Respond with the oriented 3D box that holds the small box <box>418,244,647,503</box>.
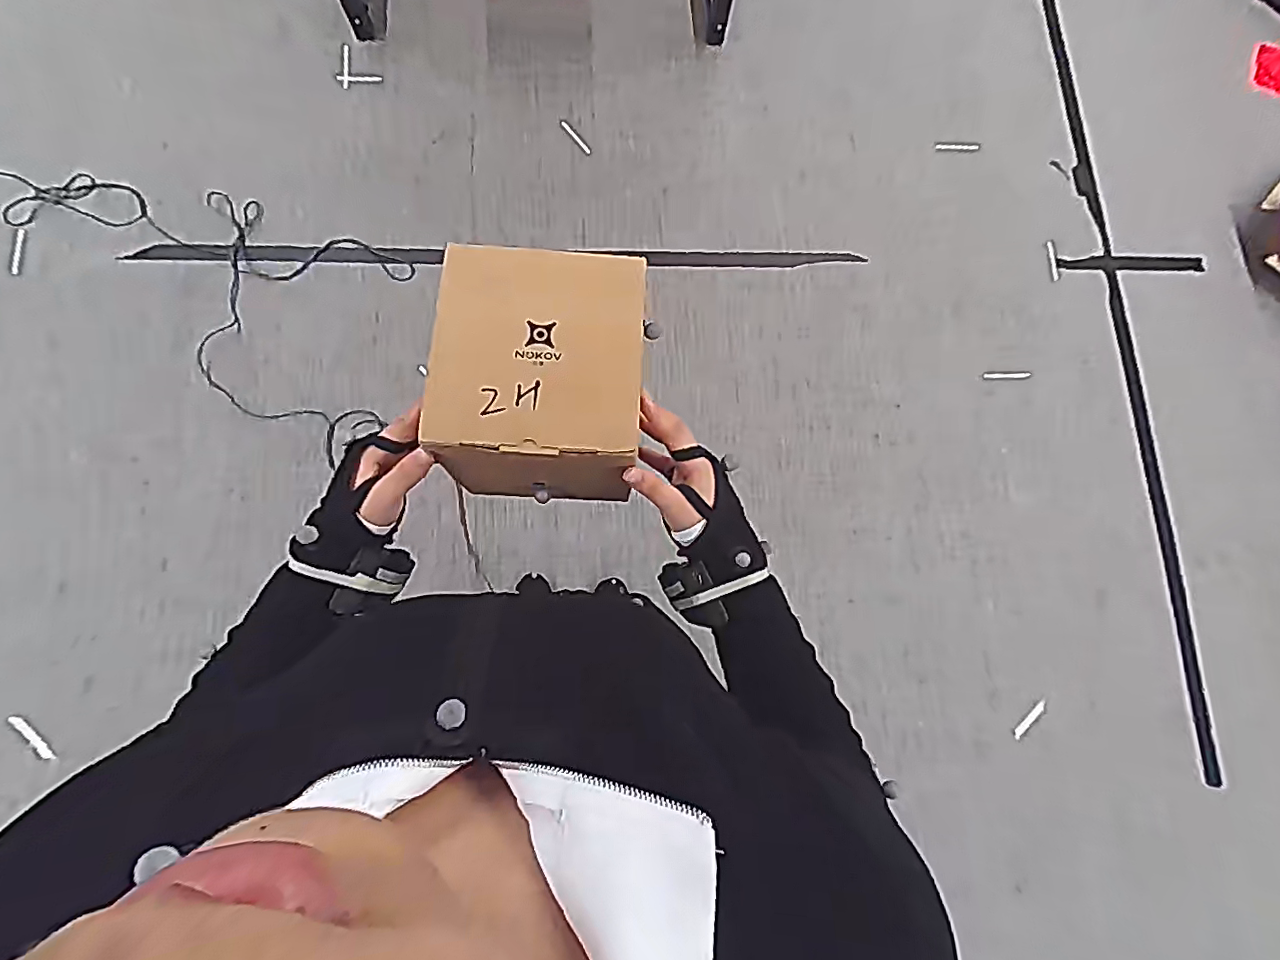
[{"bbox_3d":[-0.085,-0.085,0.502,0.168,0.176,0.179,3,75,-2],"label":"small box"}]
